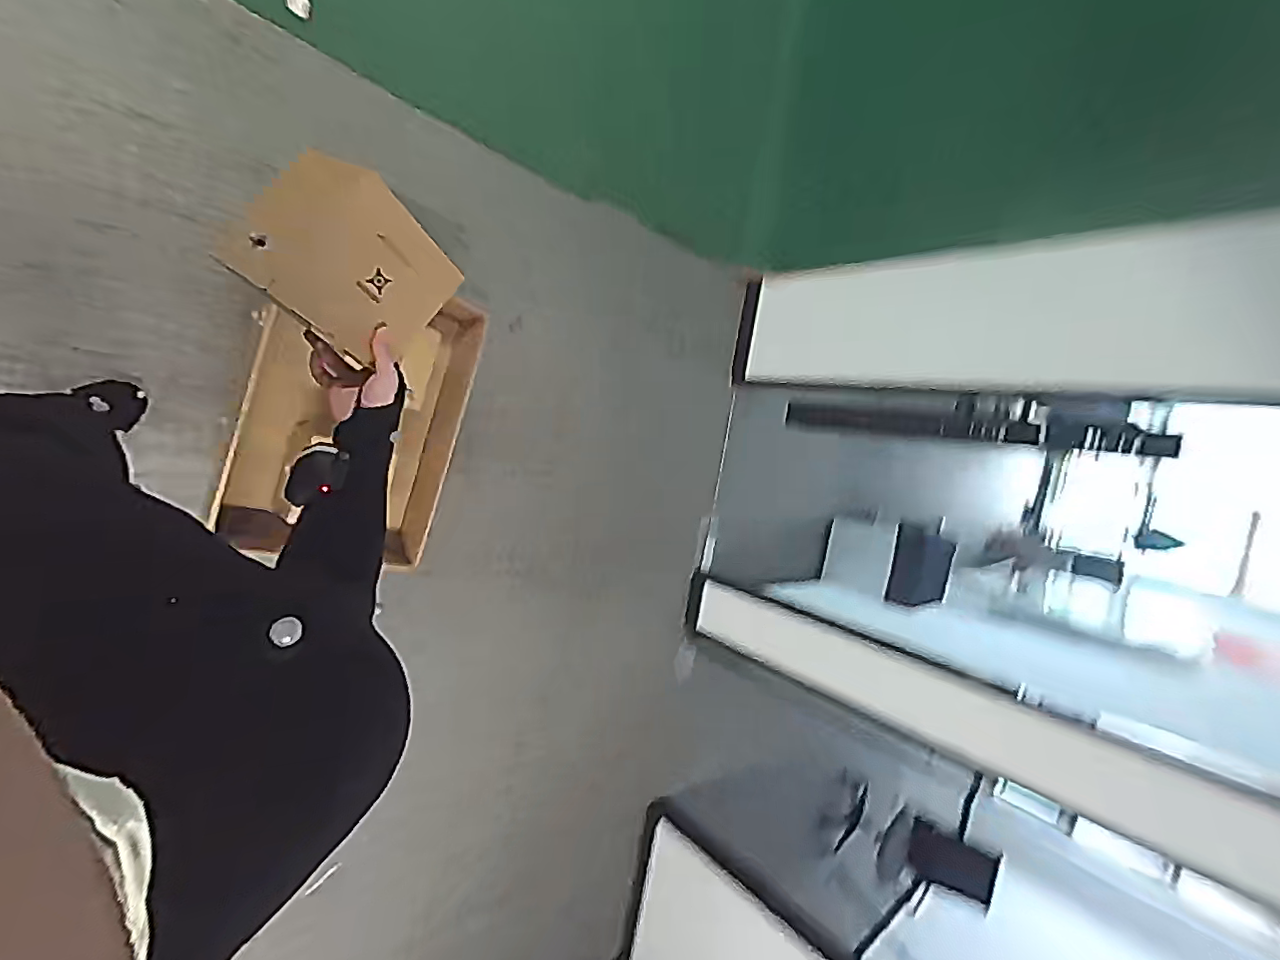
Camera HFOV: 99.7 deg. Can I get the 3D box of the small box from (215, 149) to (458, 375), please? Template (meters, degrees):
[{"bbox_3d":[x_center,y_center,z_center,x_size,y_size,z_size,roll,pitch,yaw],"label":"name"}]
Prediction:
[{"bbox_3d":[-0.371,-0.266,0.661,0.179,0.176,0.168,-55,150,-9],"label":"small box"}]

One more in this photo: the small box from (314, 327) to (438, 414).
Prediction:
[{"bbox_3d":[-0.558,-0.251,1.137,0.168,0.176,0.179,20,85,-45],"label":"small box"}]
